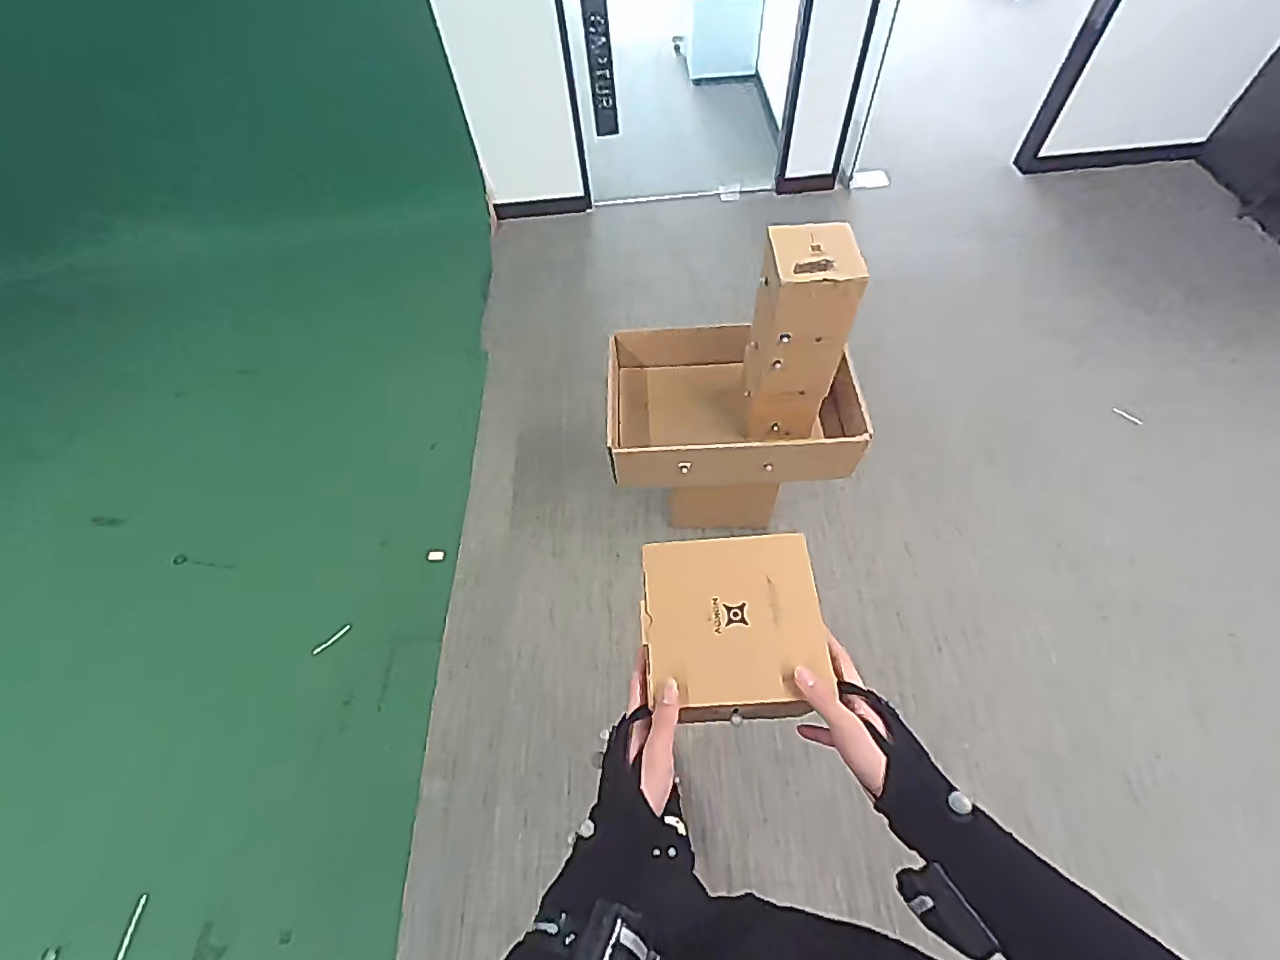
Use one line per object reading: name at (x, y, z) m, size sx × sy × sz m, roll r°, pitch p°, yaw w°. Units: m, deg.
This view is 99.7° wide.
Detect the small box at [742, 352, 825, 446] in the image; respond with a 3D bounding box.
small box at (0.358, -0.207, 1.384) m, size 0.168 × 0.176 × 0.179 m, roll -1°, pitch 58°, yaw 2°

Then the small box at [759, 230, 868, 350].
small box at (0.343, -0.380, 1.105) m, size 0.168 × 0.176 × 0.179 m, roll -2°, pitch 57°, yaw 2°

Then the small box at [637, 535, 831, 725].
small box at (0.093, 0.173, 0.603) m, size 0.179 × 0.176 × 0.168 m, roll -4°, pitch 60°, yaw 2°
